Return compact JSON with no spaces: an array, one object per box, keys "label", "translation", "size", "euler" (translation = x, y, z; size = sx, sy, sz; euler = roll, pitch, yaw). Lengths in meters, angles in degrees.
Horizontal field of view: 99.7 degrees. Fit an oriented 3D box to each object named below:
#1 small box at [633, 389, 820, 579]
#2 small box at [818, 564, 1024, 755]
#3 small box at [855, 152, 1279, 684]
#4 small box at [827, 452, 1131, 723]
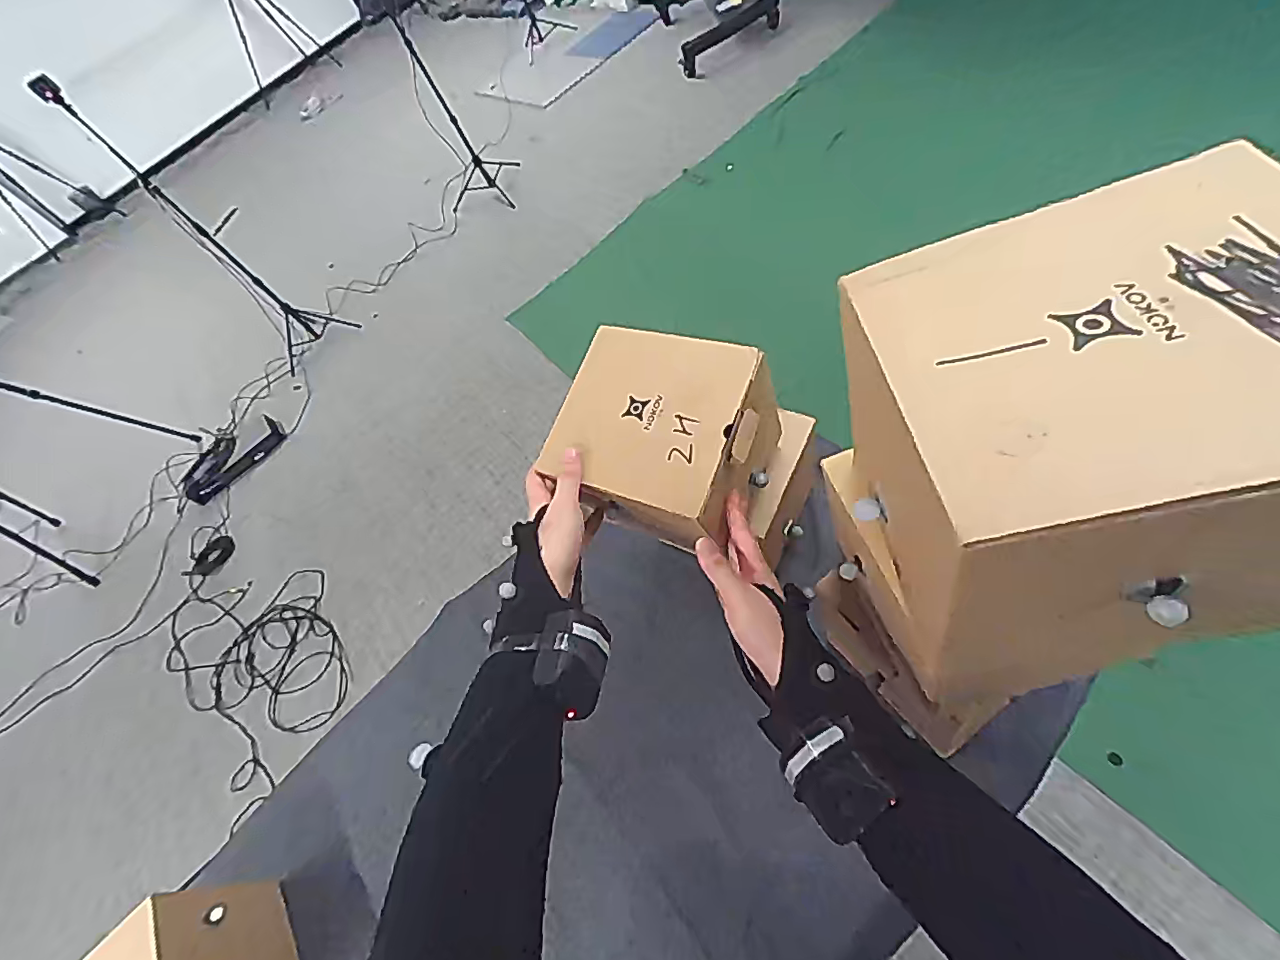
[{"label":"small box","translation":[0.120,0.010,0.707],"size":[0.179,0.176,0.168],"euler":[19,71,25]},{"label":"small box","translation":[0.311,0.145,0.543],"size":[0.179,0.176,0.168],"euler":[-39,50,-3]},{"label":"small box","translation":[0.218,-0.011,0.267],"size":[0.179,0.176,0.168],"euler":[-14,52,16]},{"label":"small box","translation":[0.264,0.064,0.408],"size":[0.179,0.176,0.168],"euler":[-22,50,9]}]
